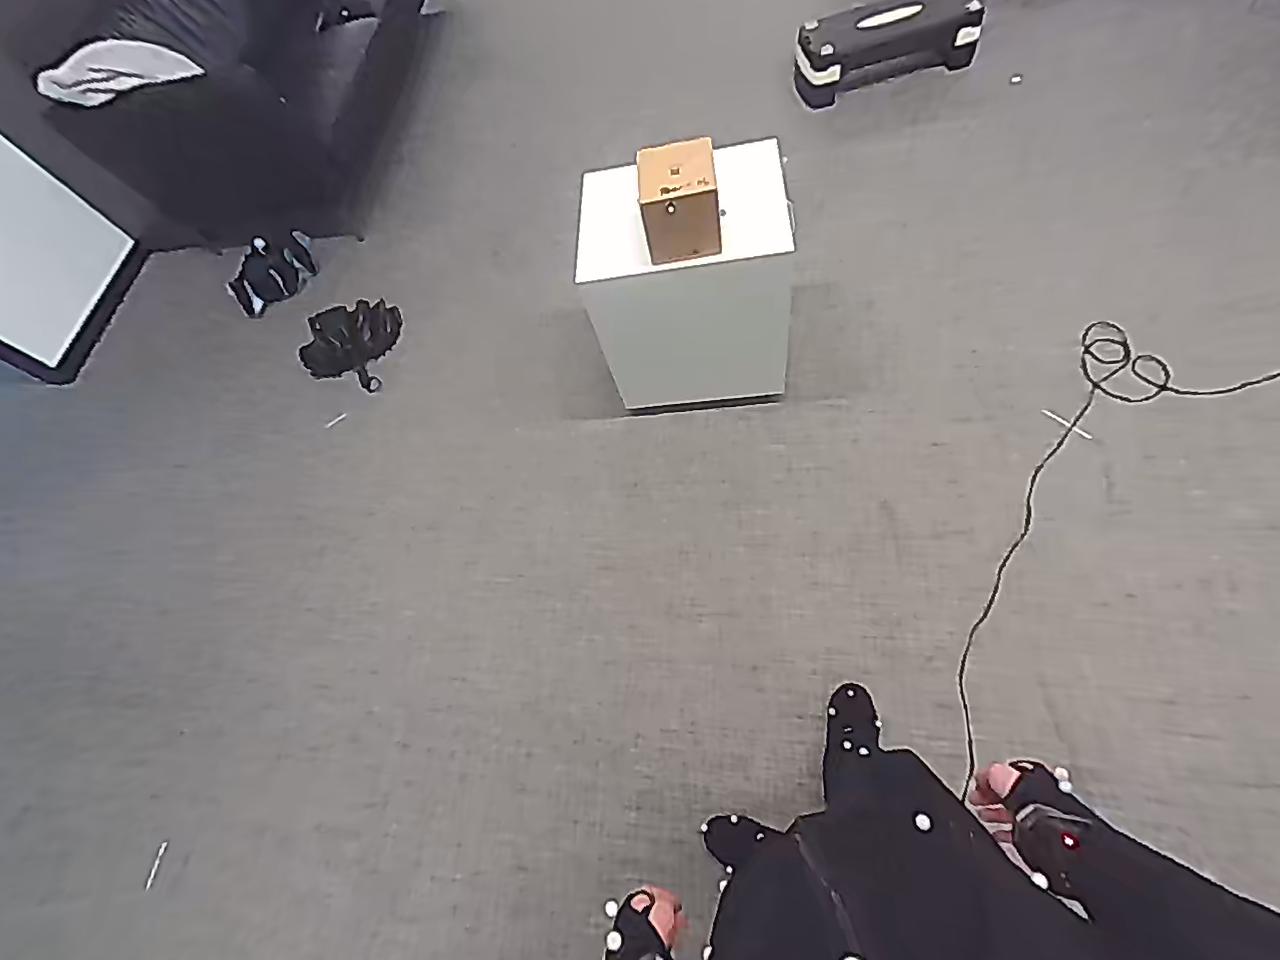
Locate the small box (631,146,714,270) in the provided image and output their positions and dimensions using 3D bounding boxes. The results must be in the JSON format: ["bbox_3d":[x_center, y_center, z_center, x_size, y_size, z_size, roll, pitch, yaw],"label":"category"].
[{"bbox_3d":[0.075,-0.609,1.220,0.168,0.176,0.179,-7,62,9],"label":"small box"}]
